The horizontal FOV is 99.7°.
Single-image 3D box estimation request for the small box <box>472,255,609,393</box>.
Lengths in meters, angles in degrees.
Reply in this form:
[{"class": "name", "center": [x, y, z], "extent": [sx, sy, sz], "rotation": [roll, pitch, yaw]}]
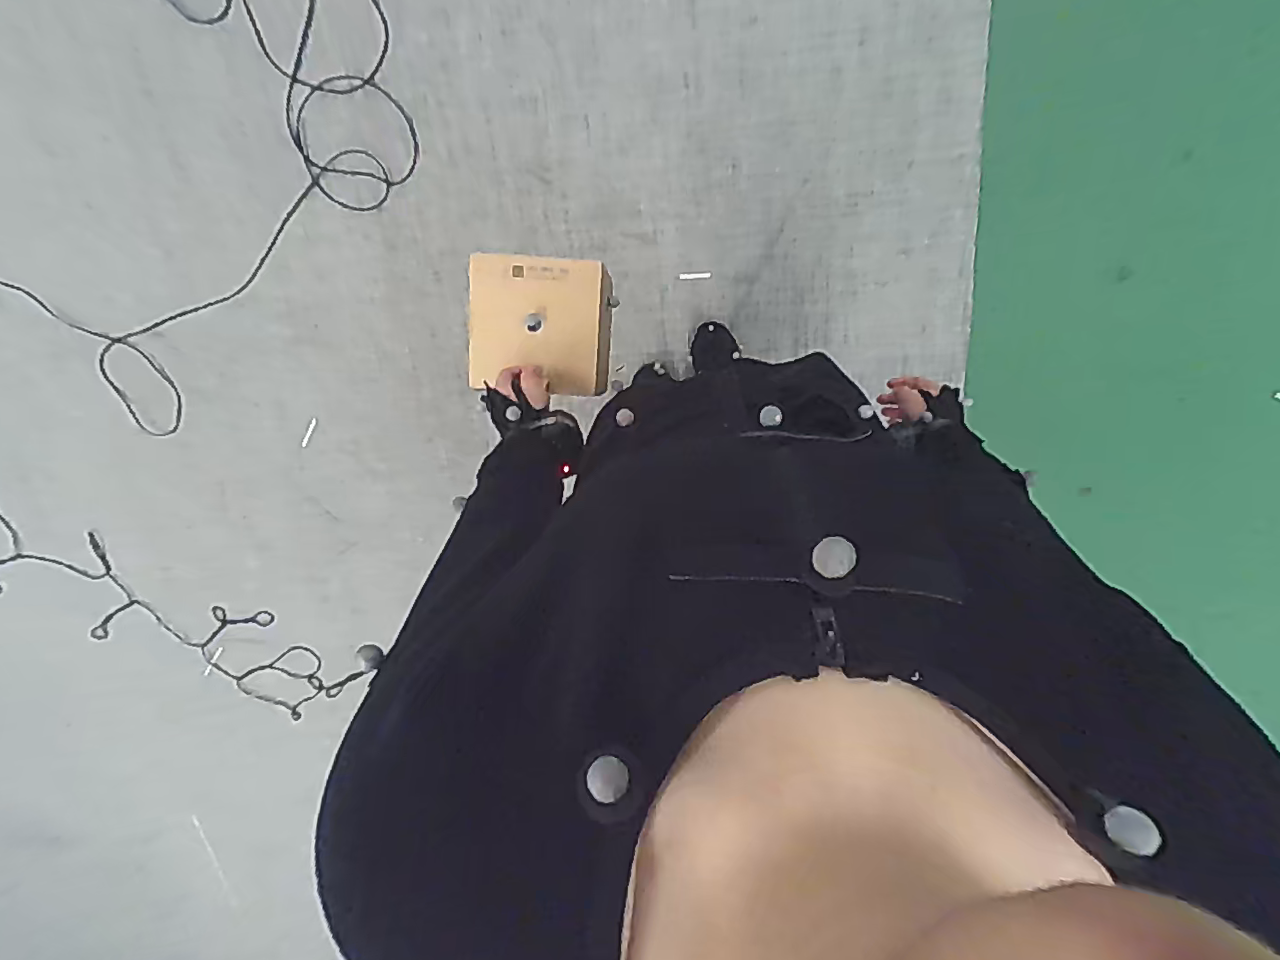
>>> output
[{"class": "small box", "center": [-0.132, -0.211, 0.761], "extent": [0.168, 0.179, 0.176], "rotation": [3, 100, 1]}]
